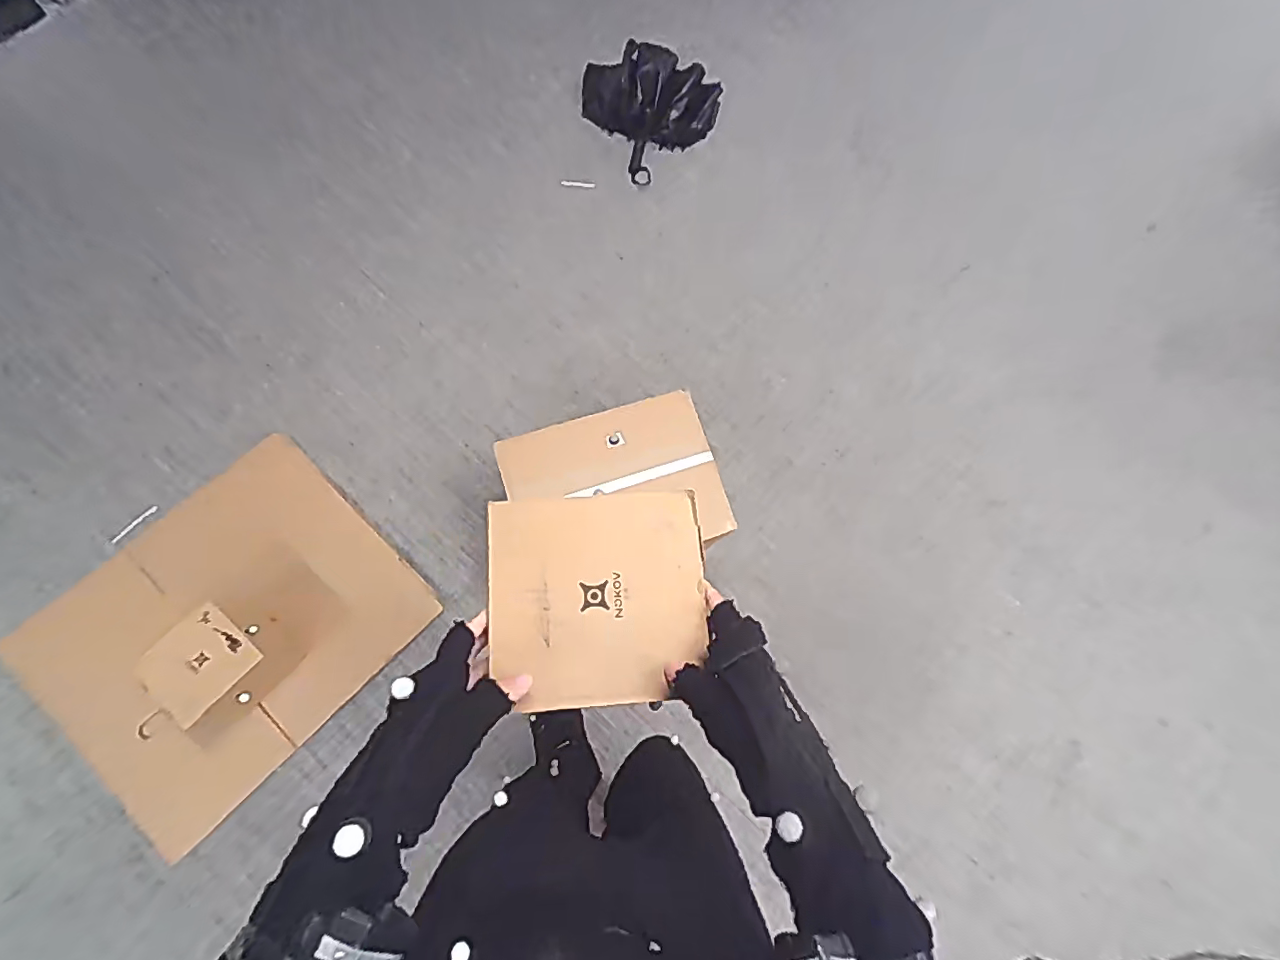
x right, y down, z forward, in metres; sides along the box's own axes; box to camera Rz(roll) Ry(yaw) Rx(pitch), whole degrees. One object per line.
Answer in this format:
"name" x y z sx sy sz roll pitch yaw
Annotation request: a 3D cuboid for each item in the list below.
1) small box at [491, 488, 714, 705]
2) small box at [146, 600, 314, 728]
"small box" -0.037 0.111 0.521 0.179 0.176 0.168 -5 75 -3
"small box" -0.821 0.370 1.105 0.168 0.176 0.179 38 76 8
